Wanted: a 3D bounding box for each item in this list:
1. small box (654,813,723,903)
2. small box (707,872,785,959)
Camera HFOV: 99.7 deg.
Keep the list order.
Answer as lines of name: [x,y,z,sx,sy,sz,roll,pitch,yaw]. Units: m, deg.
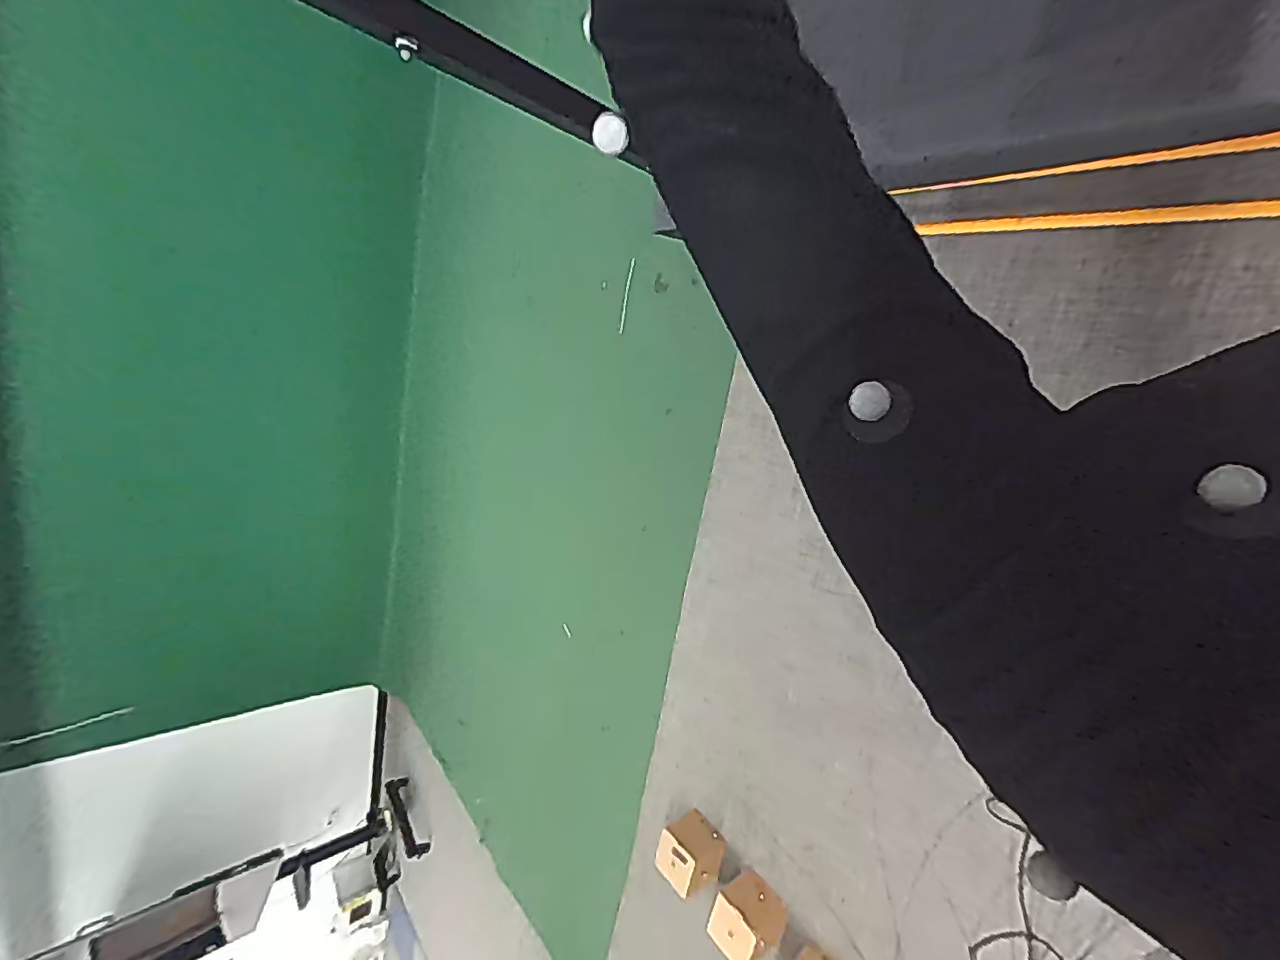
small box: [0.182,1.365,1.968,0.168,0.176,0.179,26,110,45]
small box: [0.352,1.459,1.782,0.168,0.176,0.179,27,109,45]
